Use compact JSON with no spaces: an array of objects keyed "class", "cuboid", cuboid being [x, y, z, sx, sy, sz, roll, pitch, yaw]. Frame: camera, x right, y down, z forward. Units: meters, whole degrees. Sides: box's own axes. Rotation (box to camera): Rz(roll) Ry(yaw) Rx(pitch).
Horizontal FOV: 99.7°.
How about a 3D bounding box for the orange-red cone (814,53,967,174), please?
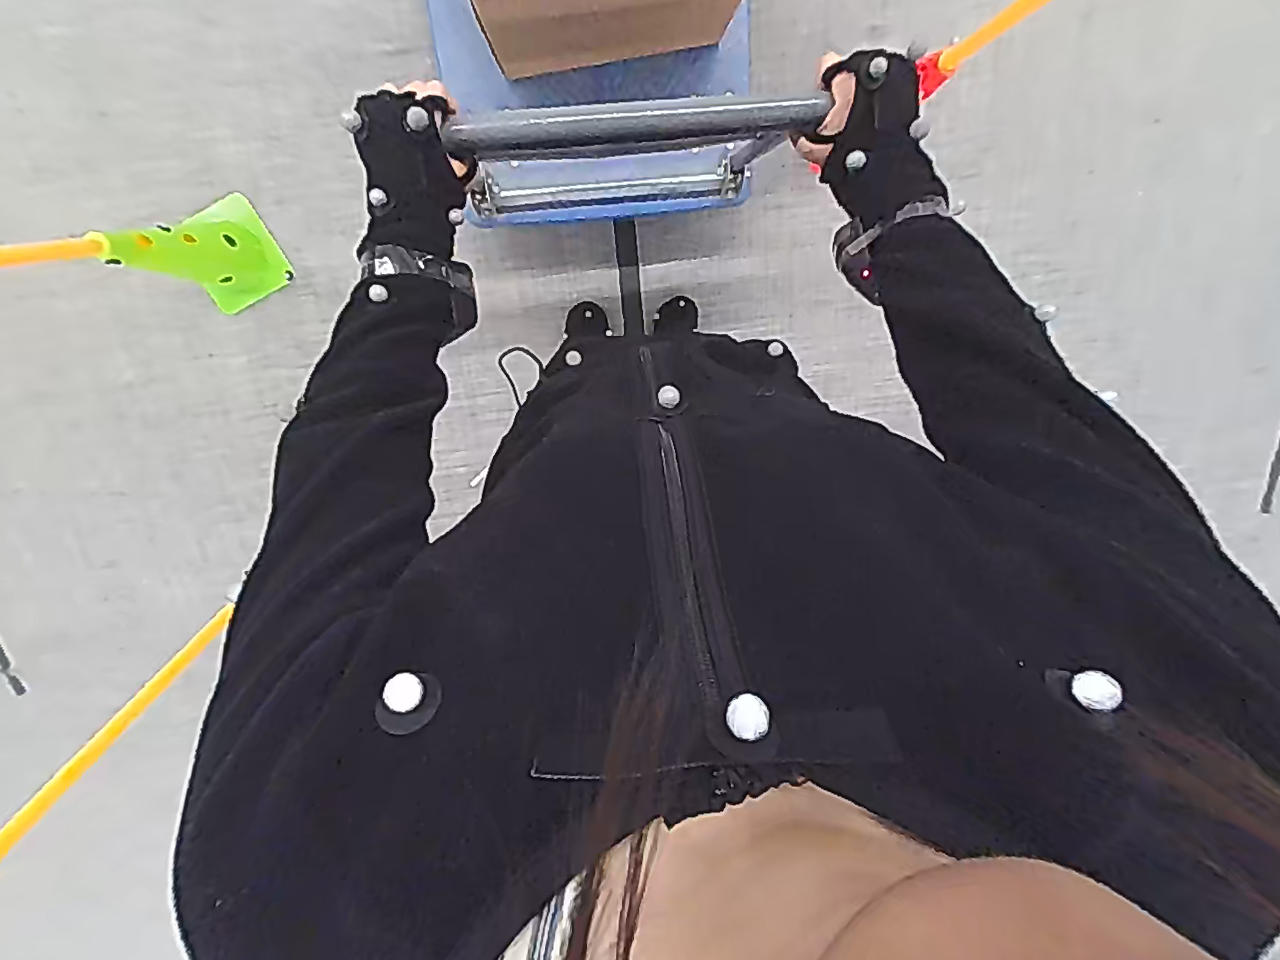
[{"class":"orange-red cone","cuboid":[0.509,-0.742,1.051,0.199,0.360,0.198,-1,110,-5]}]
